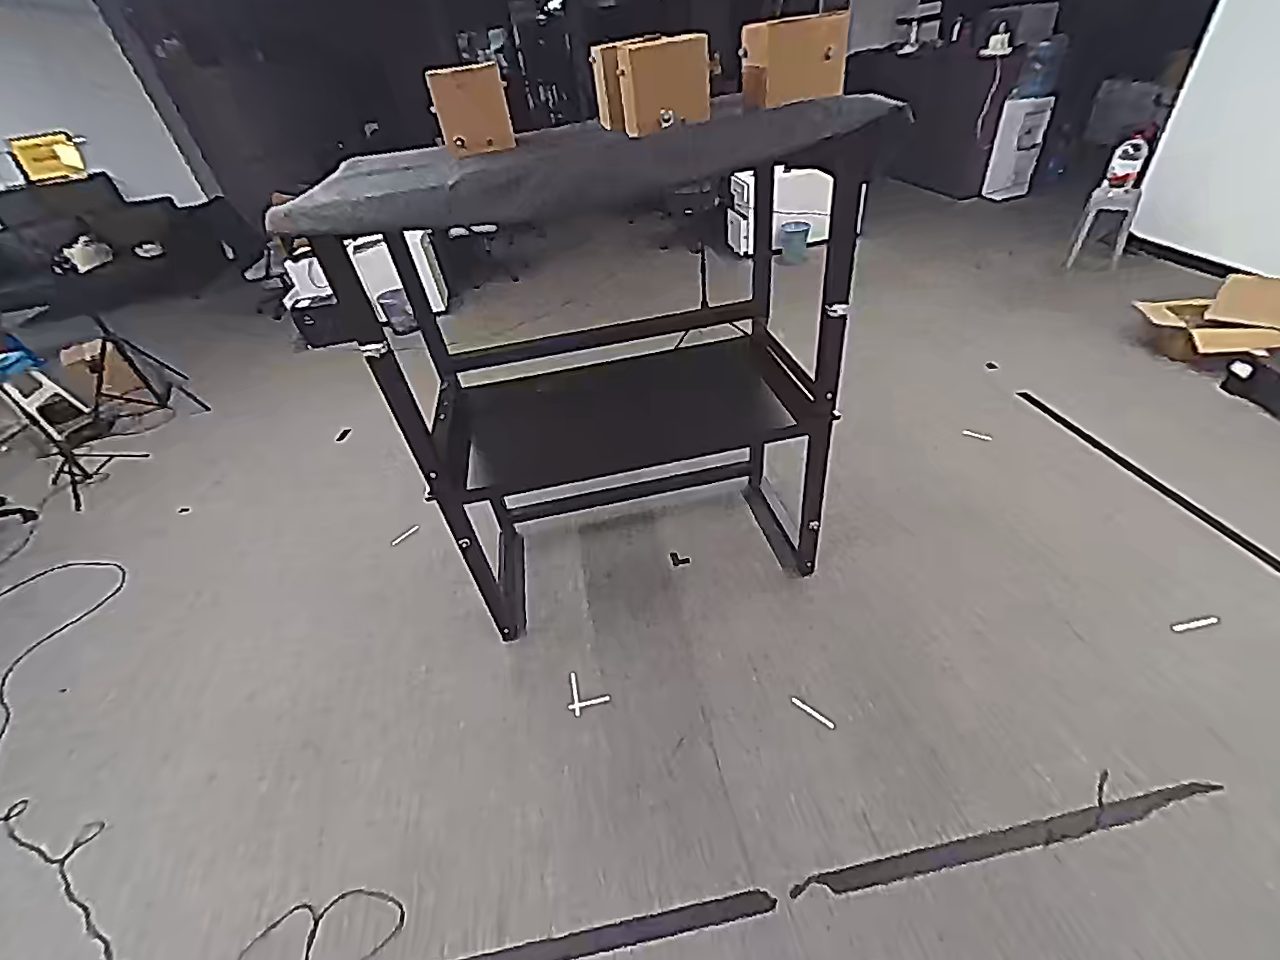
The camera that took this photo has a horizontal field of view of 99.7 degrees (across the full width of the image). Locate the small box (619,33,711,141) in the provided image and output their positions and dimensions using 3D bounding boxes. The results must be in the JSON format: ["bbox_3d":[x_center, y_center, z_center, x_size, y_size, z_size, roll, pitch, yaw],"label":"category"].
[{"bbox_3d":[0.054,-0.855,1.183,0.168,0.176,0.179,-12,39,-2],"label":"small box"}]

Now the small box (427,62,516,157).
[{"bbox_3d":[-0.409,-0.908,1.328,0.168,0.176,0.179,-14,40,-7],"label":"small box"}]

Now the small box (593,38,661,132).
[{"bbox_3d":[-0.013,-0.998,1.365,0.179,0.176,0.168,-12,40,-5],"label":"small box"}]
